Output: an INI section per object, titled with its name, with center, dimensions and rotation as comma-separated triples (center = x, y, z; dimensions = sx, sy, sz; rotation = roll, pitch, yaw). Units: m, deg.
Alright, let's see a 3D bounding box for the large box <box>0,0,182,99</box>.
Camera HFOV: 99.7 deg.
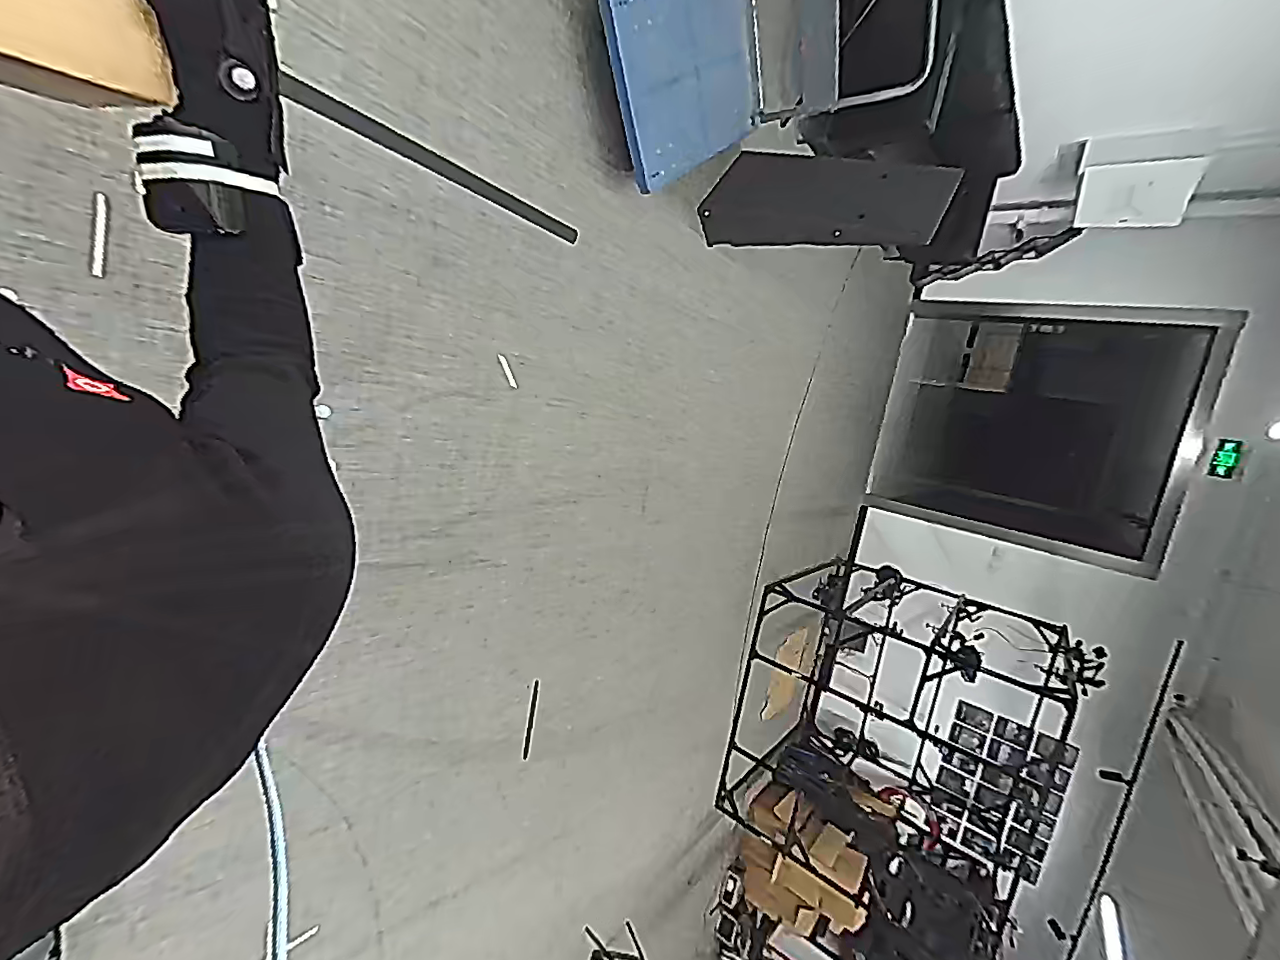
[large box]
center = -0.529, -0.438, 0.259
dimensions = 0.408, 0.320, 0.320
rotation = -12, 122, -52
